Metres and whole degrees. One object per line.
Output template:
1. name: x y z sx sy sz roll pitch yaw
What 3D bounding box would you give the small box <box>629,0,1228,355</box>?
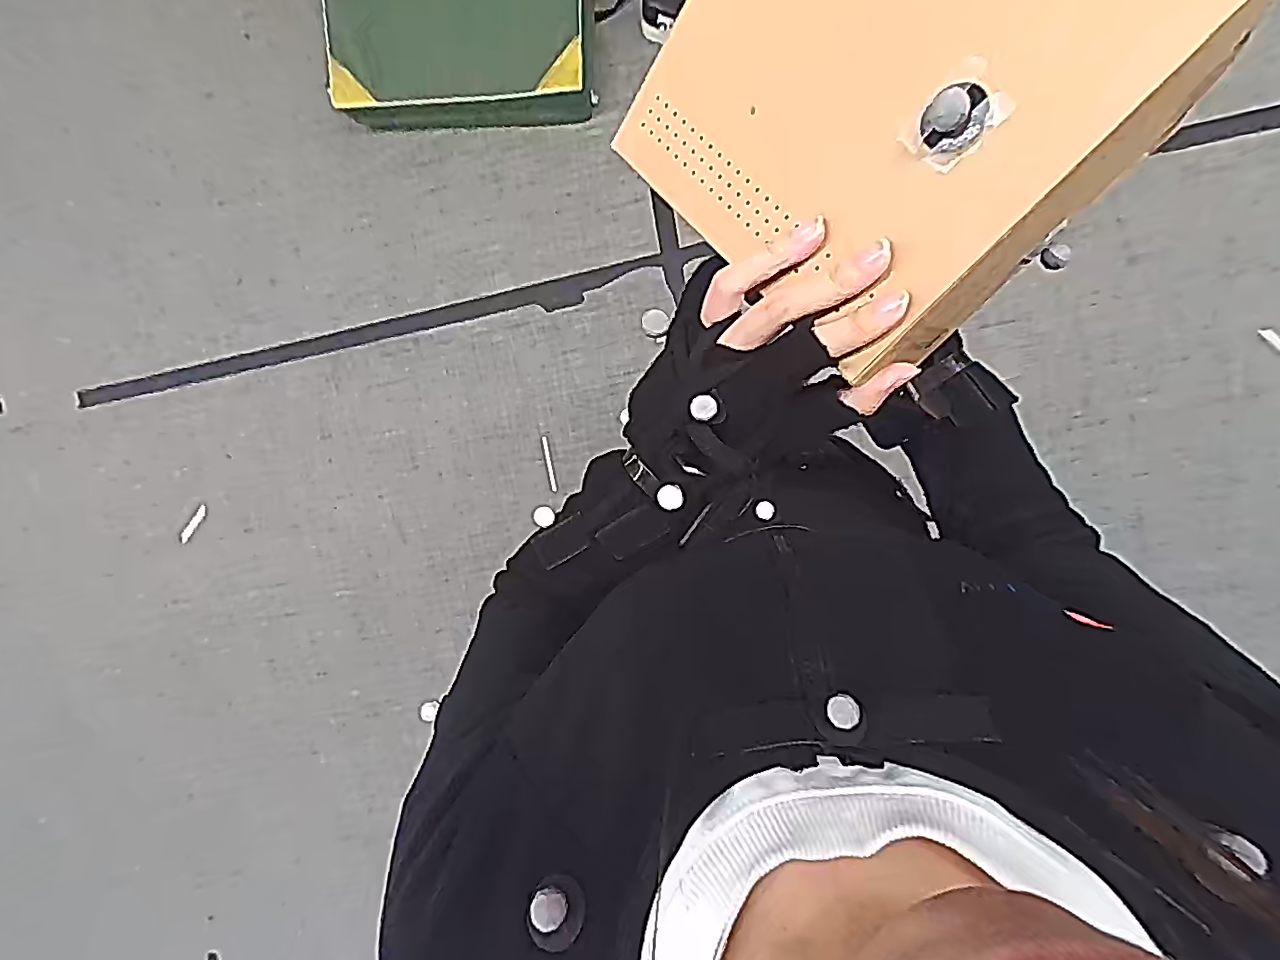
1. small box: 0.130 -0.182 0.288 0.179 0.168 0.176 51 125 15
